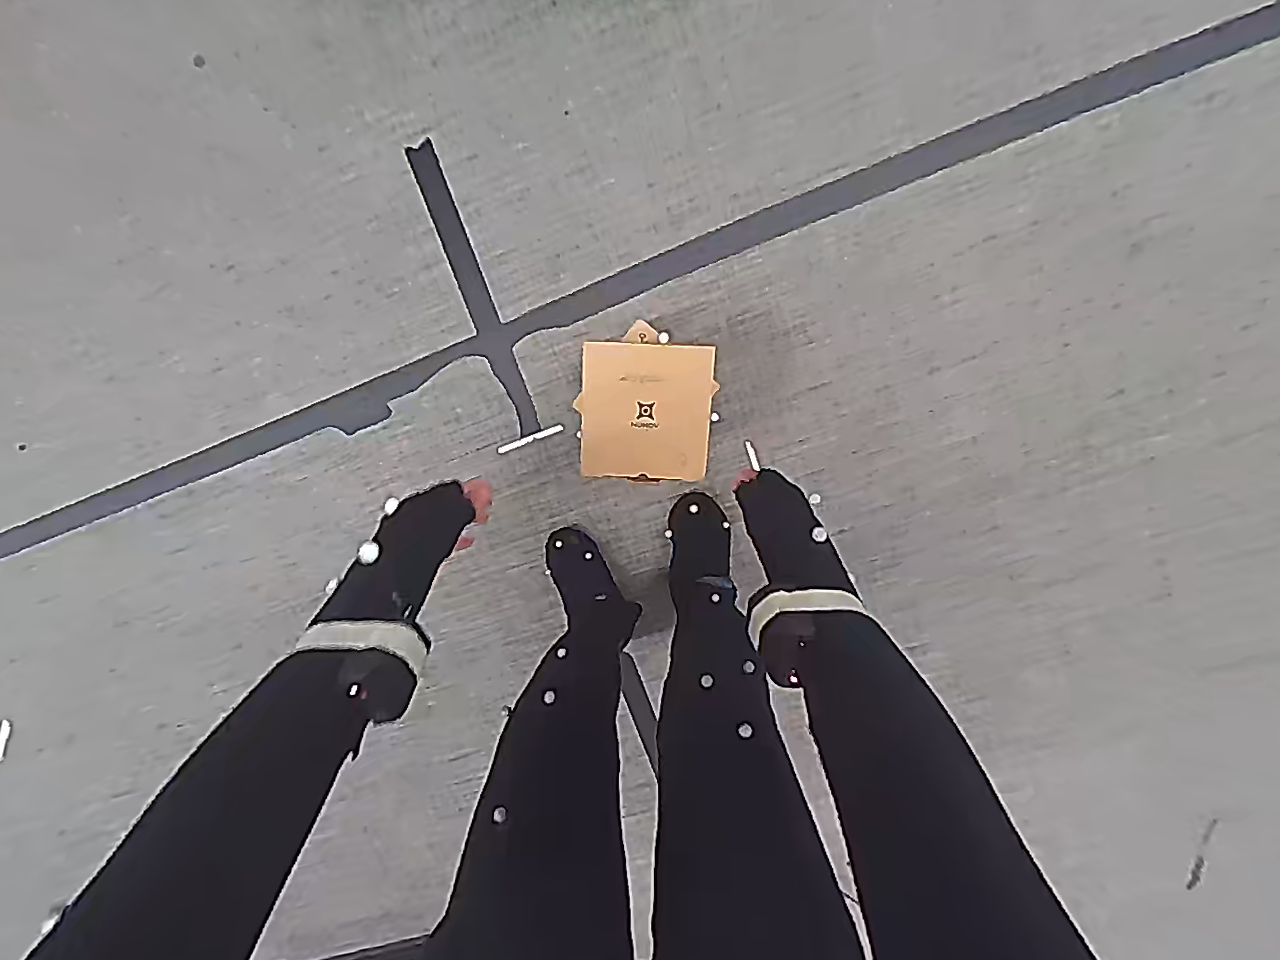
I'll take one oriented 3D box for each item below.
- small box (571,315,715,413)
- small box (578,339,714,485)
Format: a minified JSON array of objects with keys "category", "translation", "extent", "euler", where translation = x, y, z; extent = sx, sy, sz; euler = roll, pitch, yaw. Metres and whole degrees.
[{"category":"small box","translation":[0.010,-0.155,0.919],"extent":[0.168,0.176,0.179],"euler":[37,103,-6]},{"category":"small box","translation":[0.009,-0.103,0.761],"extent":[0.168,0.176,0.179],"euler":[4,104,1]}]
